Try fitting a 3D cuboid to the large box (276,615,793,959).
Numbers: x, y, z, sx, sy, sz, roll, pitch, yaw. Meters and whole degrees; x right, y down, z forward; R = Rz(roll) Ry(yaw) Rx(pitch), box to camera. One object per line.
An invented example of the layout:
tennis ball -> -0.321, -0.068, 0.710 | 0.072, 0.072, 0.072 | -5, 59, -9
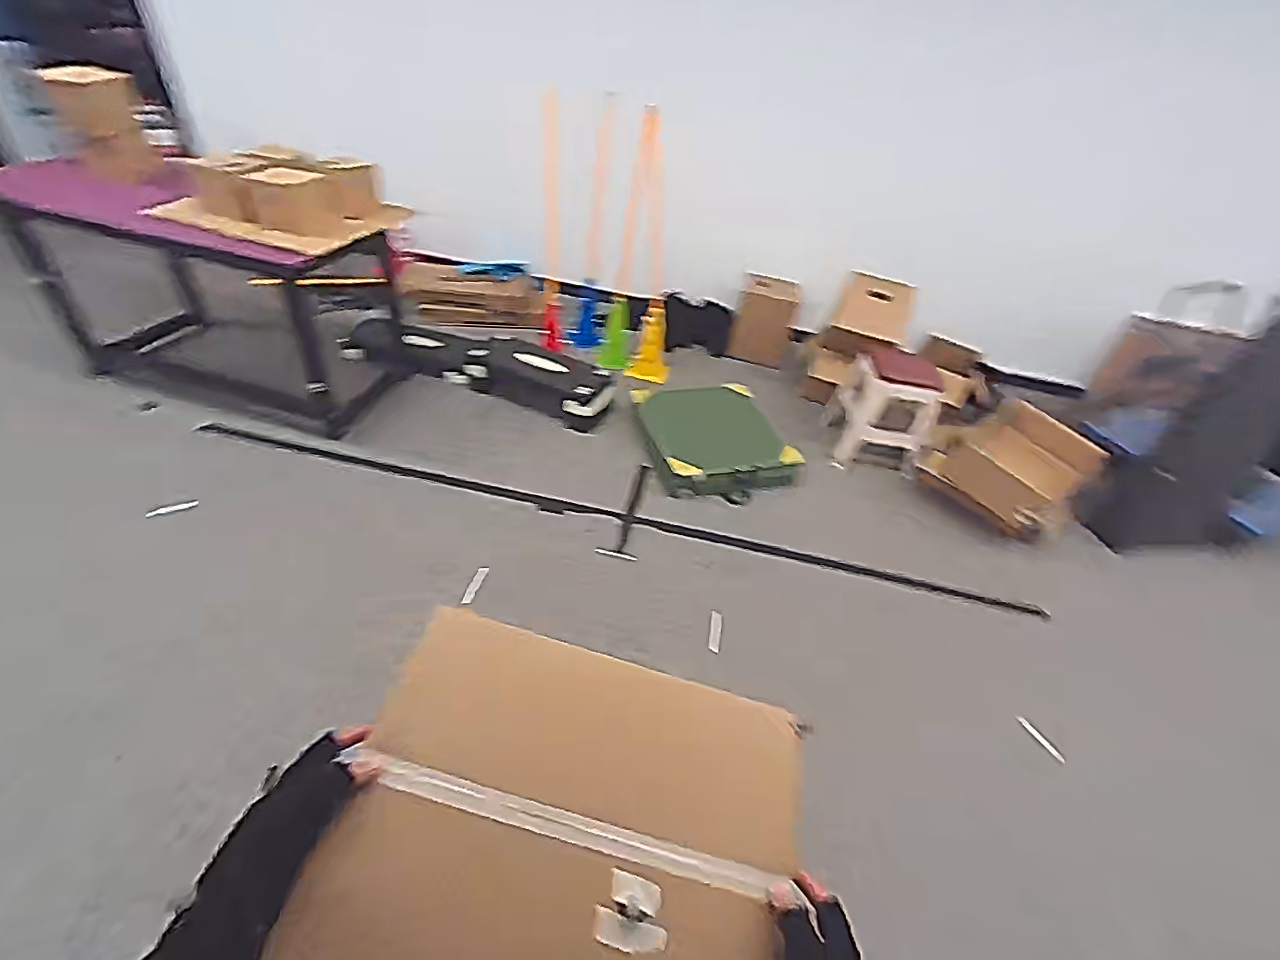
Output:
large box -> -0.084, 0.405, 0.615 | 0.408, 0.320, 0.320 | 17, 52, 1
